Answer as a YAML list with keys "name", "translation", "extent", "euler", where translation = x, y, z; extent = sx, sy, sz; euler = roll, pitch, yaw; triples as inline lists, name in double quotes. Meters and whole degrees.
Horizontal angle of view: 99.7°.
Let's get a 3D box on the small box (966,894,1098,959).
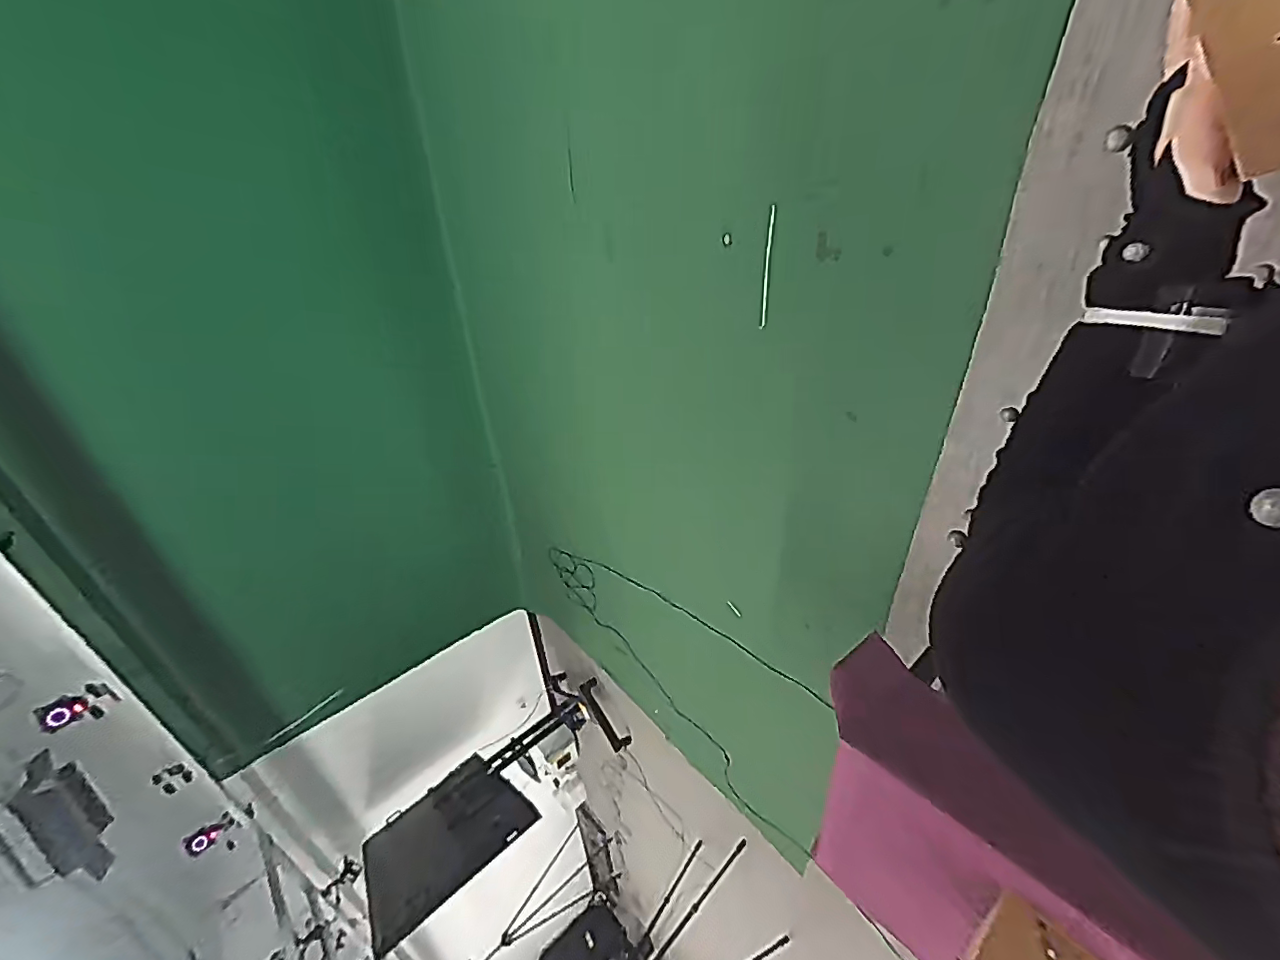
- name: "small box"
  translation: [0.700, 0.909, 0.974]
  extent: [0.168, 0.176, 0.179]
  euler: [30, 136, 40]
